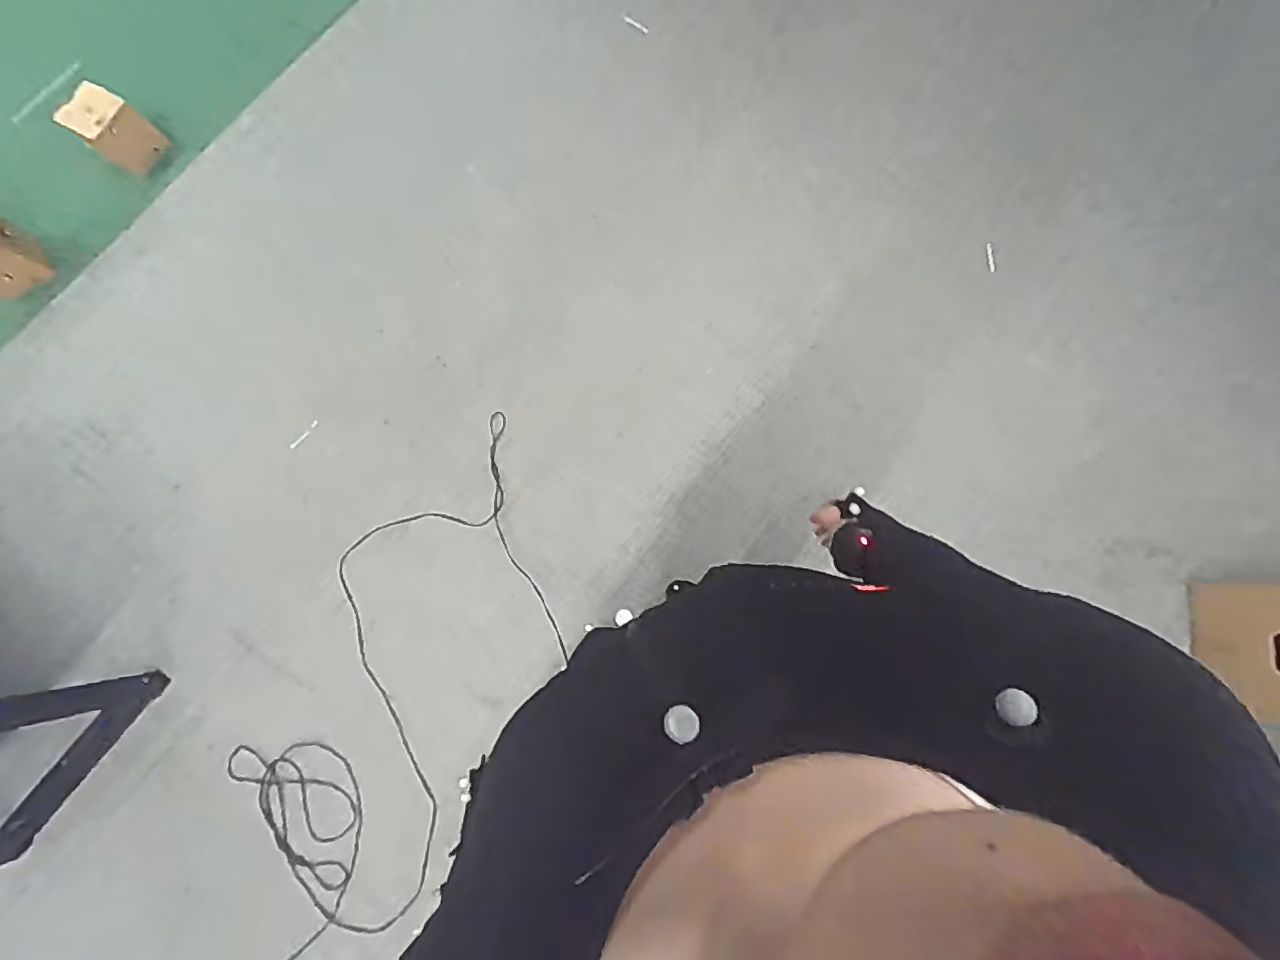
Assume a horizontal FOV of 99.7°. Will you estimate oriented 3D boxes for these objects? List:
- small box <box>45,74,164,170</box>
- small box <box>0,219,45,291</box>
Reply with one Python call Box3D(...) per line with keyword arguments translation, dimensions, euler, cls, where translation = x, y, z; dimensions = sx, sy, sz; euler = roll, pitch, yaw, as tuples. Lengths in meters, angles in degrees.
Box3D(translation=(-1.720, -1.147, 1.746), dimensions=(0.179, 0.176, 0.168), euler=(28, 81, 8), cls="small box")
Box3D(translation=(-2.031, -0.716, 1.678), dimensions=(0.168, 0.176, 0.179), euler=(-35, 80, -5), cls="small box")
